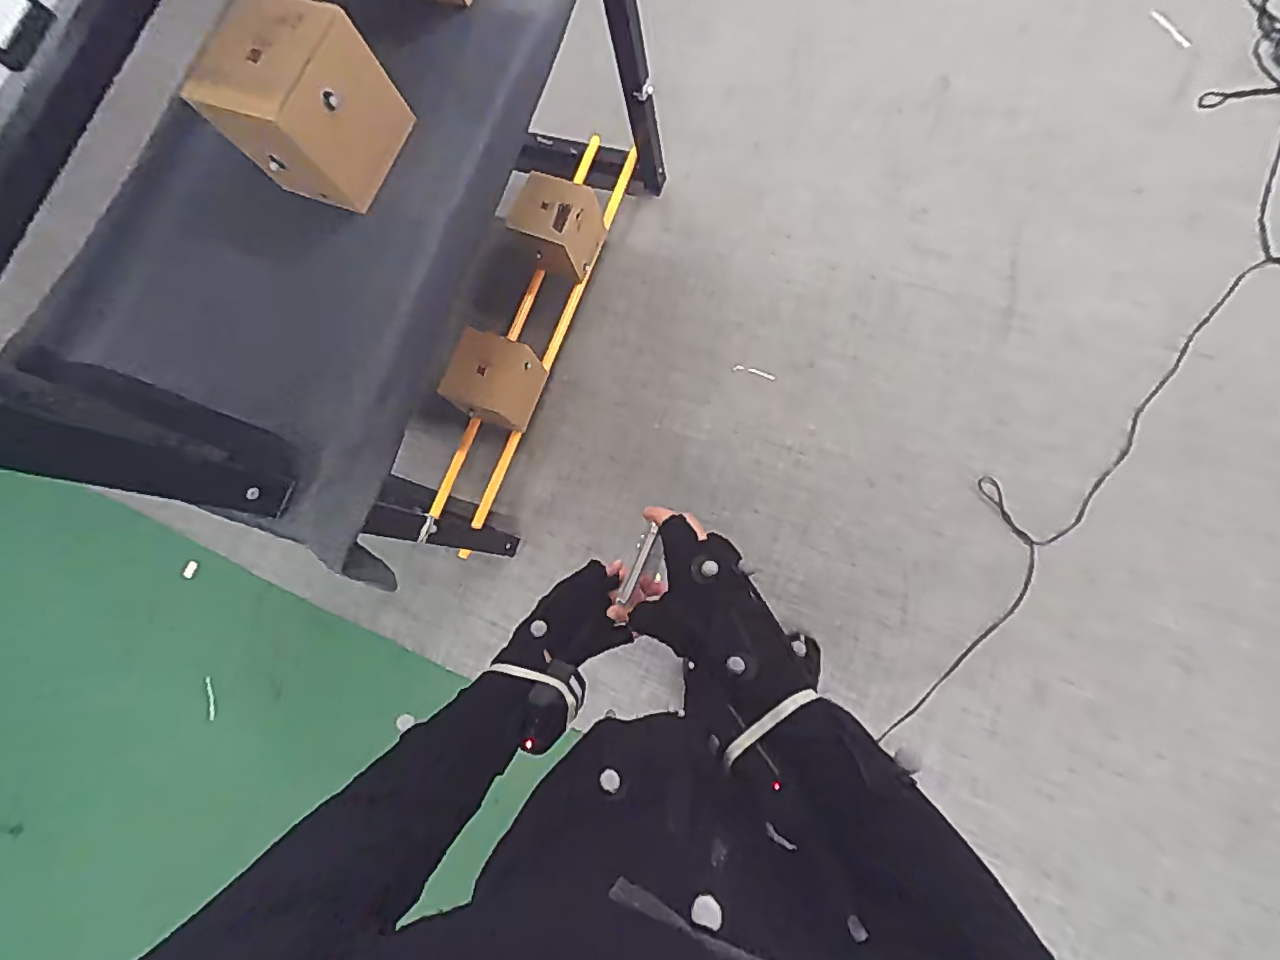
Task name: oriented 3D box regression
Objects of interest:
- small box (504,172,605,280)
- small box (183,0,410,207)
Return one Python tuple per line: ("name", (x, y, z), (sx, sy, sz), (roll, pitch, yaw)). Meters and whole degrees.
("small box", (-0.208, -0.638, 1.377), (0.179, 0.176, 0.168), (22, 82, 13))
("small box", (-0.456, -0.518, 0.747), (0.168, 0.176, 0.179), (22, 83, 13))
